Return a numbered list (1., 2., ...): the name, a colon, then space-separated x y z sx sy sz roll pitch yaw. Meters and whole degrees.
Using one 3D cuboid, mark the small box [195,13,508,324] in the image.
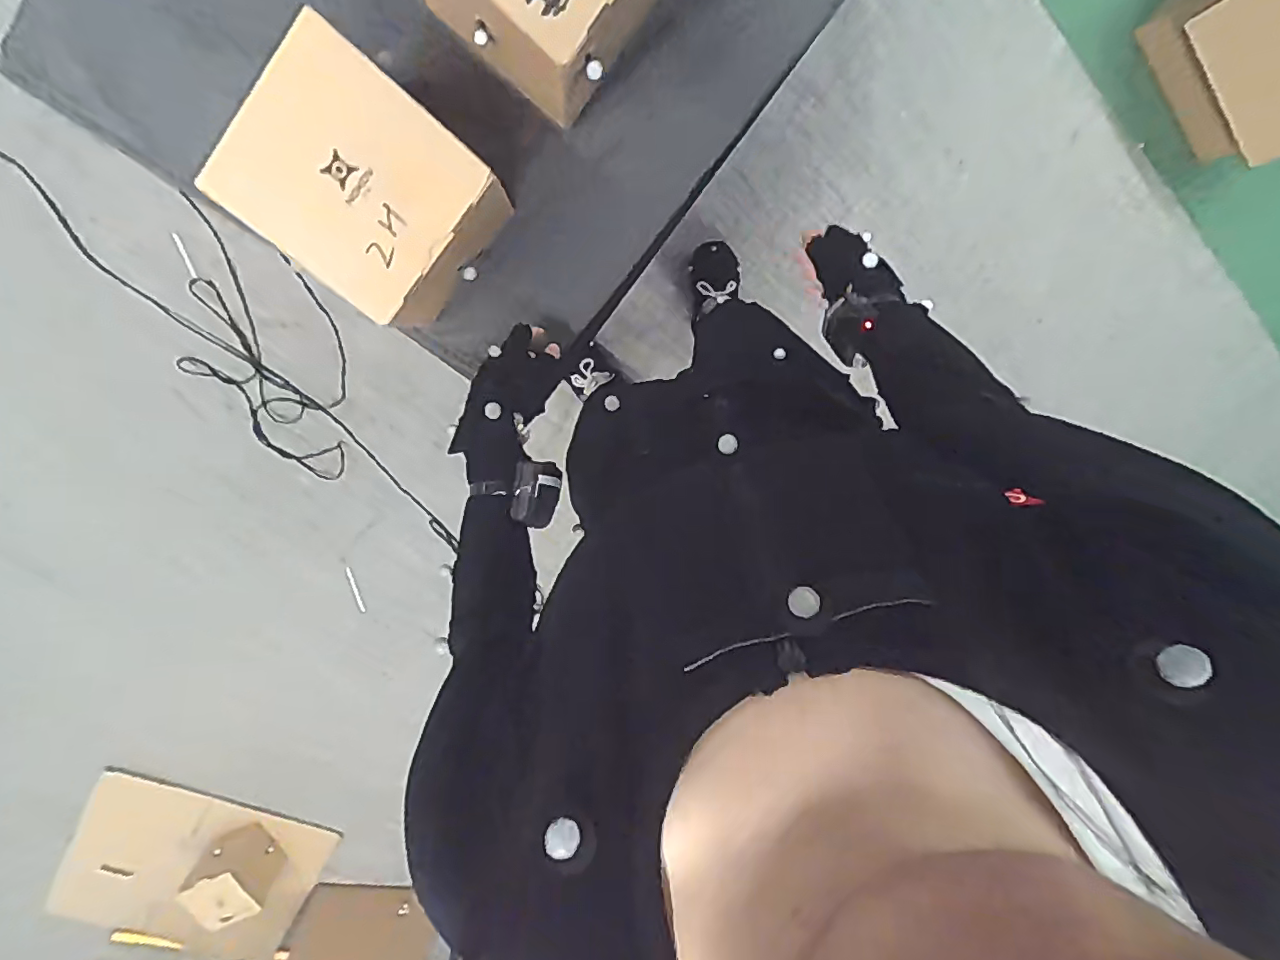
1. small box: -0.251 -0.268 0.521 0.179 0.176 0.168 39 99 -16
